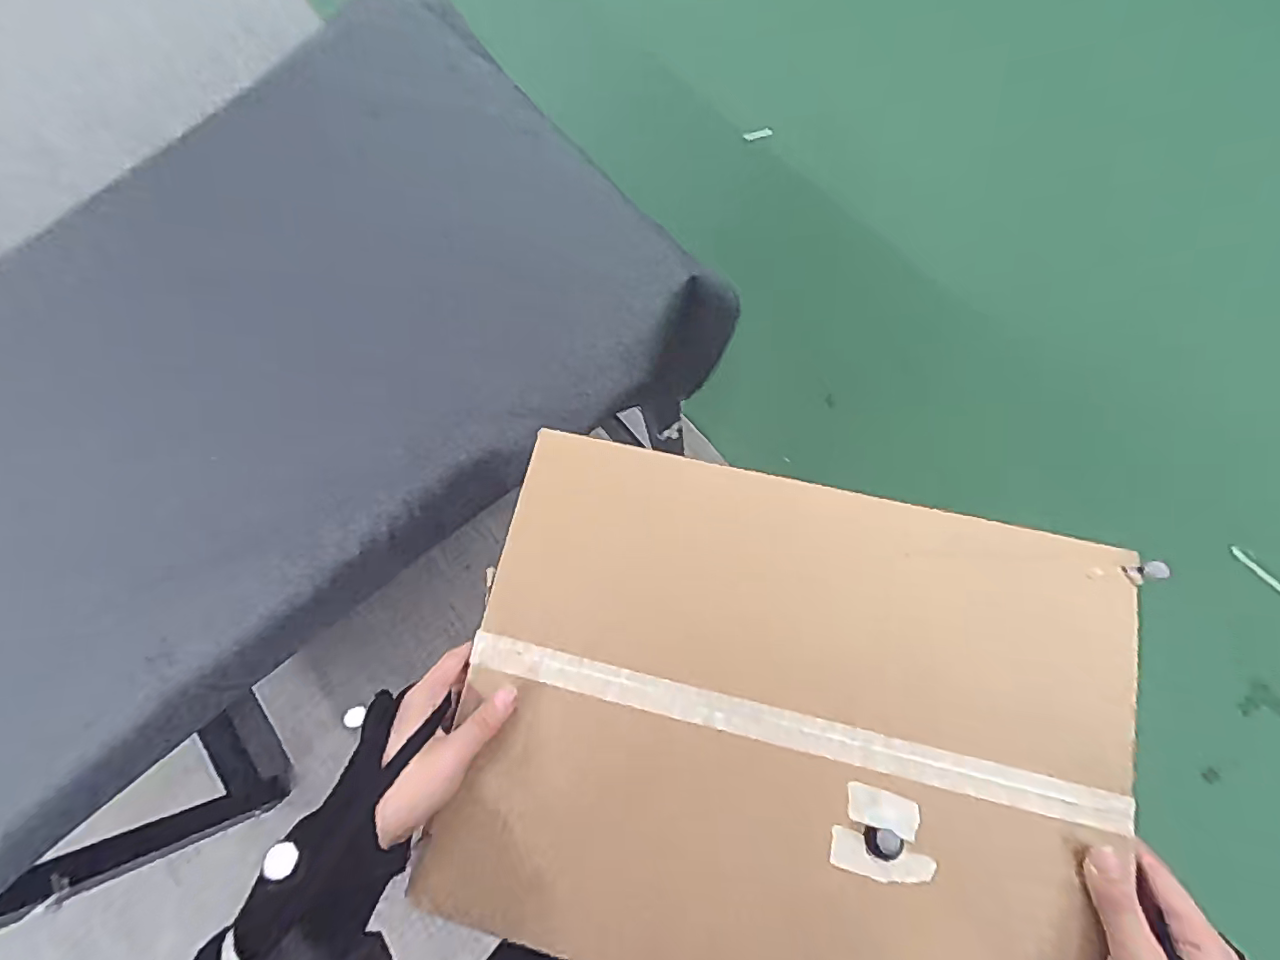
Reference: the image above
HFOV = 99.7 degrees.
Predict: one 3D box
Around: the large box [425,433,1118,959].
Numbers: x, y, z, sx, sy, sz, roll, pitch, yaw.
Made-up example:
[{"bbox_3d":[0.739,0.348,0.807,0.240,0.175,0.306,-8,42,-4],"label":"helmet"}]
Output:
[{"bbox_3d":[0.097,0.179,0.488,0.408,0.320,0.320,11,77,6],"label":"large box"}]
